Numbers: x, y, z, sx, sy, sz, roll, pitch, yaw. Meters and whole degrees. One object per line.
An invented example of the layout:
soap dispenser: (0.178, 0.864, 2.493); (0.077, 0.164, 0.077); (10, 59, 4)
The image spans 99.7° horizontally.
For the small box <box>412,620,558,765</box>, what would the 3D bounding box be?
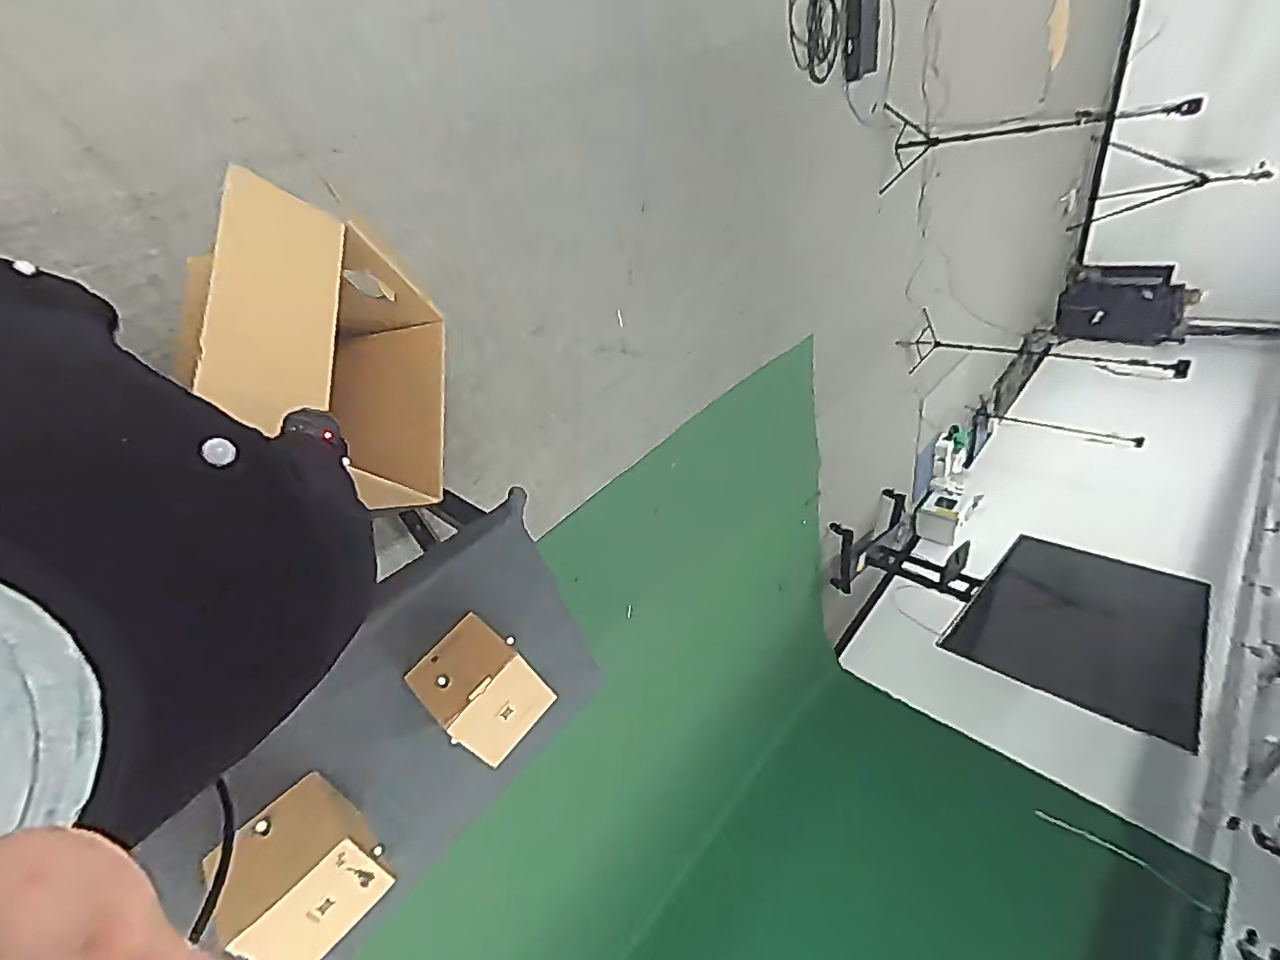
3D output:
small box: (-0.294, 0.391, 1.024); (0.168, 0.176, 0.179); (-45, 136, -22)

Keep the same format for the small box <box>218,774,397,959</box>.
small box: (-0.532, 0.623, 0.862); (0.179, 0.176, 0.168); (-37, 130, -30)
